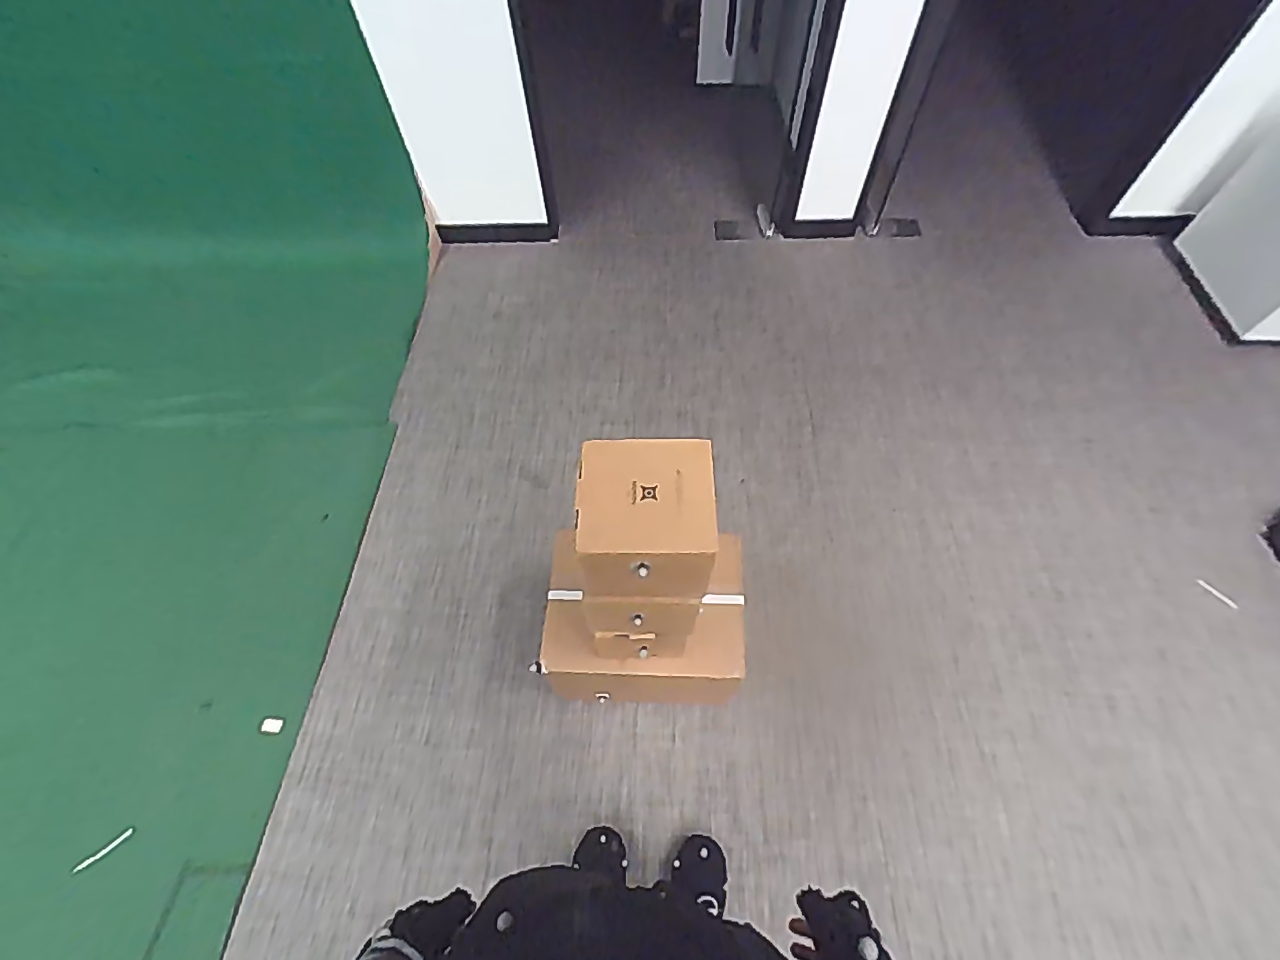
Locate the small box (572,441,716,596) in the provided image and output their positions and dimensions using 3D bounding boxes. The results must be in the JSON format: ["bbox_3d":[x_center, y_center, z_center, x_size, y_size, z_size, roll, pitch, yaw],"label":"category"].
[{"bbox_3d":[0.007,0.060,0.756,0.179,0.176,0.168,0,61,0],"label":"small box"}]

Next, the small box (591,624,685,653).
[{"bbox_3d":[-0.002,0.229,1.036,0.168,0.176,0.179,-2,60,0],"label":"small box"}]

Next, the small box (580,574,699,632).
[{"bbox_3d":[0.003,0.147,0.893,0.179,0.176,0.168,0,59,3],"label":"small box"}]
